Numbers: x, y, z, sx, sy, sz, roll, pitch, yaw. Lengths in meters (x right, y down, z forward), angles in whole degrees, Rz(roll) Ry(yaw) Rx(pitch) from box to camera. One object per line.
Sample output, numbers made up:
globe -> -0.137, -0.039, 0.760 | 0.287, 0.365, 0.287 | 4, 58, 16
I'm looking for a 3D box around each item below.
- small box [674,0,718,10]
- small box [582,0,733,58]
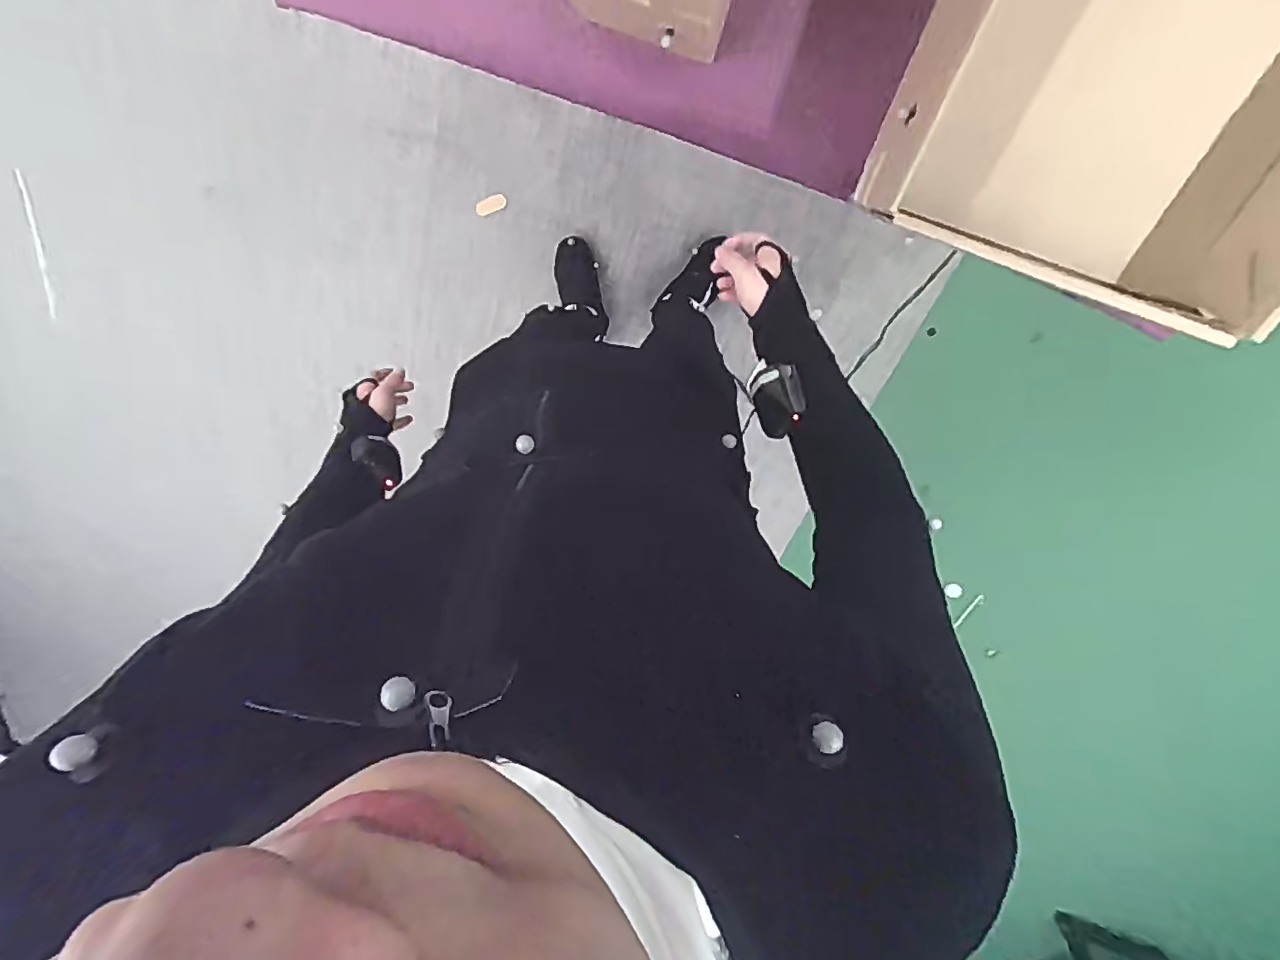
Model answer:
small box -> 0.009, -0.481, 0.381 | 0.168, 0.176, 0.179 | 18, 119, -3
small box -> 0.027, -0.553, 0.527 | 0.168, 0.176, 0.179 | 19, 117, -3
